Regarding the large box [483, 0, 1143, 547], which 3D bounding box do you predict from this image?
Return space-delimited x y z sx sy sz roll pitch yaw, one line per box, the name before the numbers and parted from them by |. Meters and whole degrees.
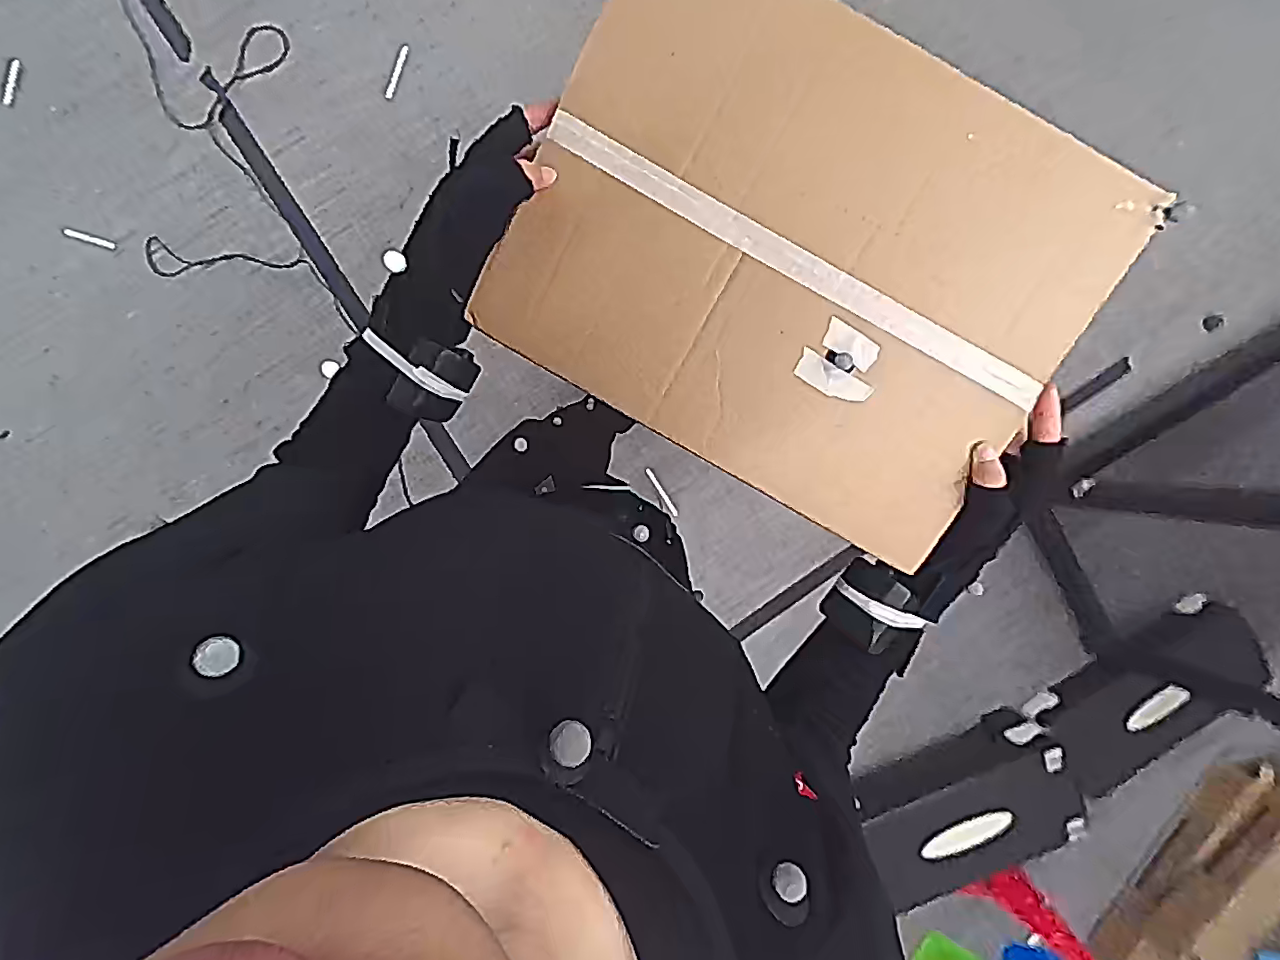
large box | 0.125 -0.192 0.555 0.408 0.320 0.320 30 101 -1
